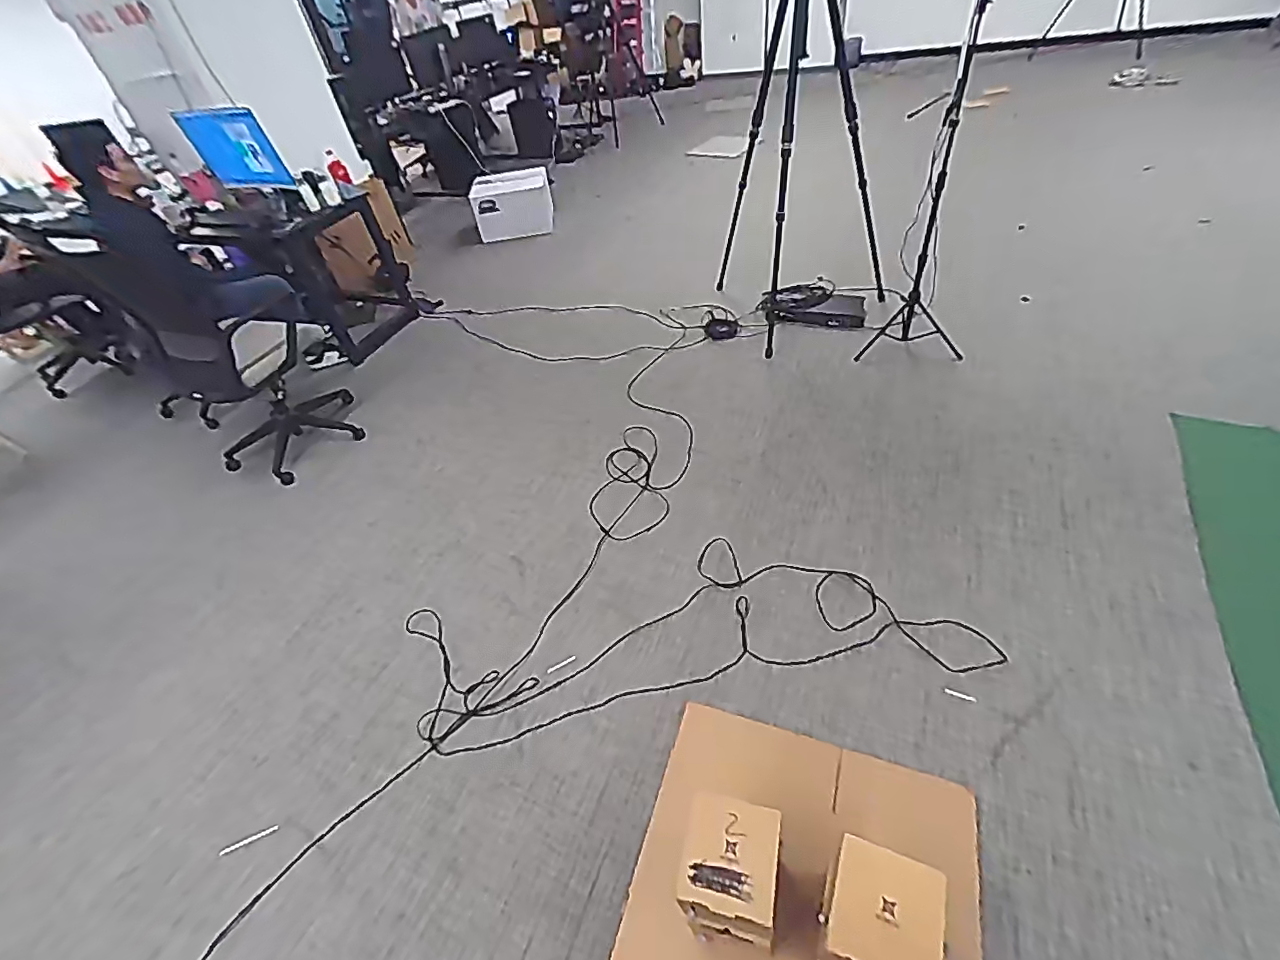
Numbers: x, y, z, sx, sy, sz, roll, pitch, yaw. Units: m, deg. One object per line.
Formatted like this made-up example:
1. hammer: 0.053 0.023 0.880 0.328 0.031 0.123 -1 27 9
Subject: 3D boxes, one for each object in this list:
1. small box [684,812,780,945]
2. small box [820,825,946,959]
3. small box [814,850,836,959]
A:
1. small box: 0.197 0.827 1.120 0.168 0.176 0.179 6 47 17
2. small box: 0.414 0.742 0.934 0.168 0.176 0.179 11 50 22
3. small box: 0.434 0.860 1.044 0.168 0.176 0.179 8 48 21
